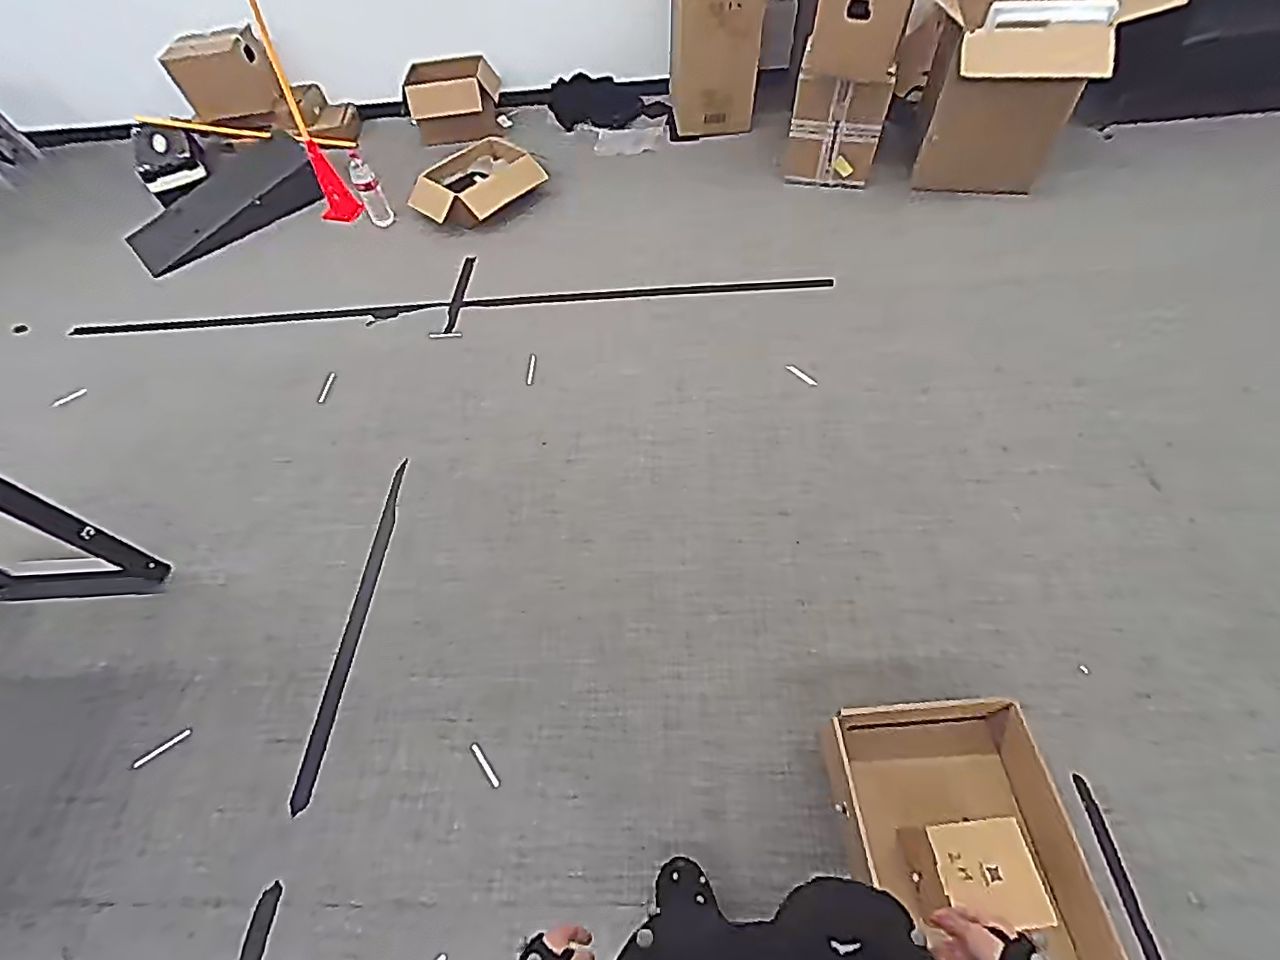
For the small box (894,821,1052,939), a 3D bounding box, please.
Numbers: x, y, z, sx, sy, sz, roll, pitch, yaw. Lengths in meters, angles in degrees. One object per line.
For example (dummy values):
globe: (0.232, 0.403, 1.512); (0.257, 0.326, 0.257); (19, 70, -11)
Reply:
small box: (0.630, 0.767, 1.049); (0.179, 0.176, 0.168); (-6, 55, 0)
